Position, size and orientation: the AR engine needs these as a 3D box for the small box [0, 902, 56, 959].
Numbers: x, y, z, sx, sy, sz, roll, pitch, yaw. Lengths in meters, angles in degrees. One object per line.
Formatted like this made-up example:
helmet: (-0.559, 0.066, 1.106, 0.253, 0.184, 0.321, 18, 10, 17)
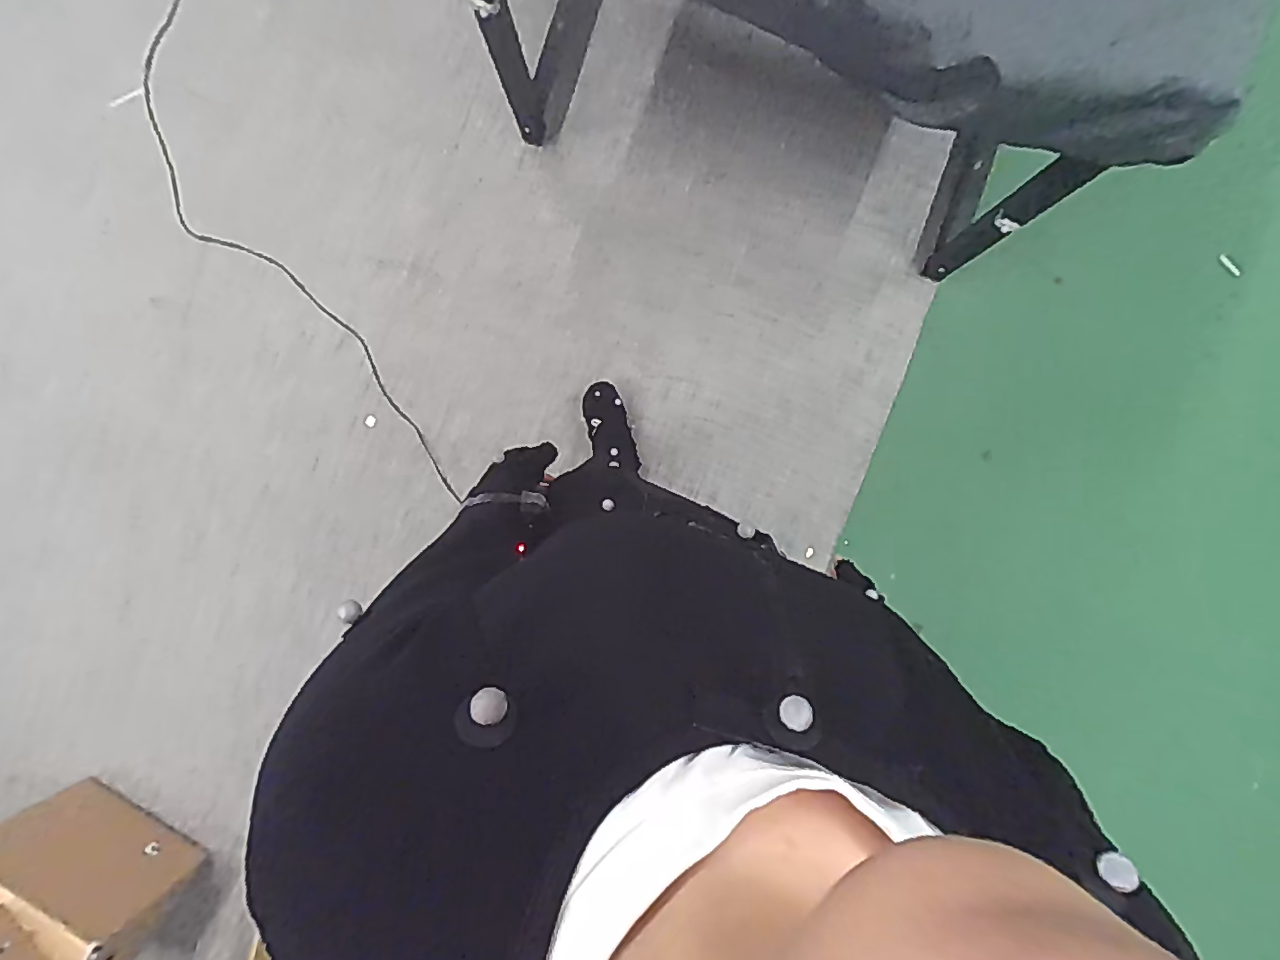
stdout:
small box: (-1.398, 1.025, 1.112, 0.168, 0.176, 0.179, -42, 89, 1)
